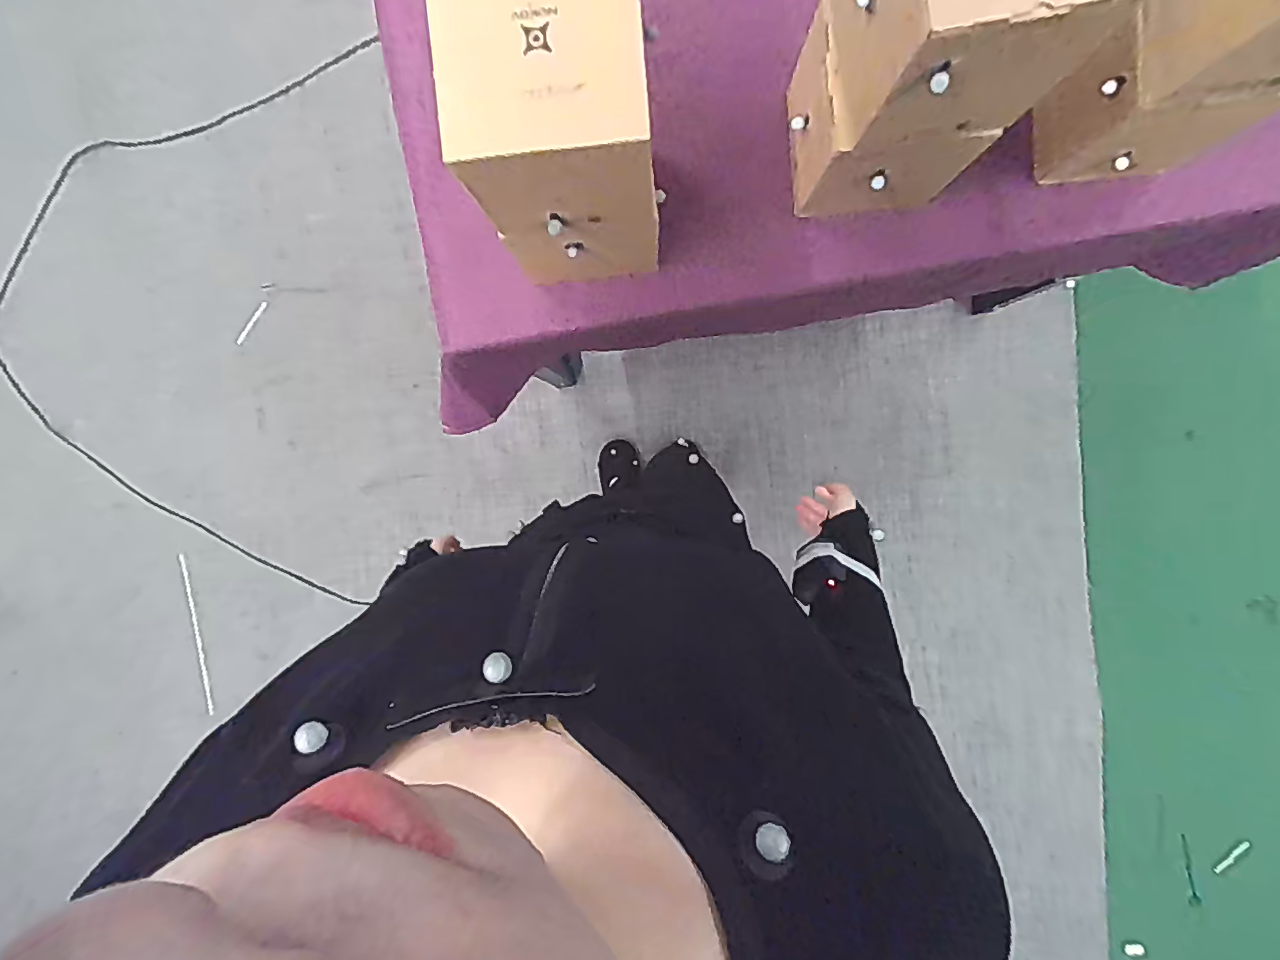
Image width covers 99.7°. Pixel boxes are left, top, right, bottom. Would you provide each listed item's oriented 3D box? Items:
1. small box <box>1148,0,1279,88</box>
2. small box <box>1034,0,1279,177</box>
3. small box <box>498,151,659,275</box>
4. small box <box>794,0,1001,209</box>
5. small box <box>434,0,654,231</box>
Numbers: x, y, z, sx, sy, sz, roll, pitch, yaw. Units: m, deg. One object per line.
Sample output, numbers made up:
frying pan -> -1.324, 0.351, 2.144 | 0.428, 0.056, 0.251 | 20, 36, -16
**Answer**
small box -> 0.589, -0.473, 0.463 | 0.168, 0.176, 0.179 | -5, 94, 2
small box -> 0.595, -0.486, 0.627 | 0.168, 0.176, 0.179 | -4, 95, 3
small box -> -0.070, -0.362, 0.659 | 0.179, 0.176, 0.168 | -6, 94, 2
small box -> 0.286, -0.443, 0.641 | 0.179, 0.176, 0.168 | -5, 94, 3
small box -> -0.074, -0.354, 0.497 | 0.168, 0.176, 0.179 | -4, 94, 3
